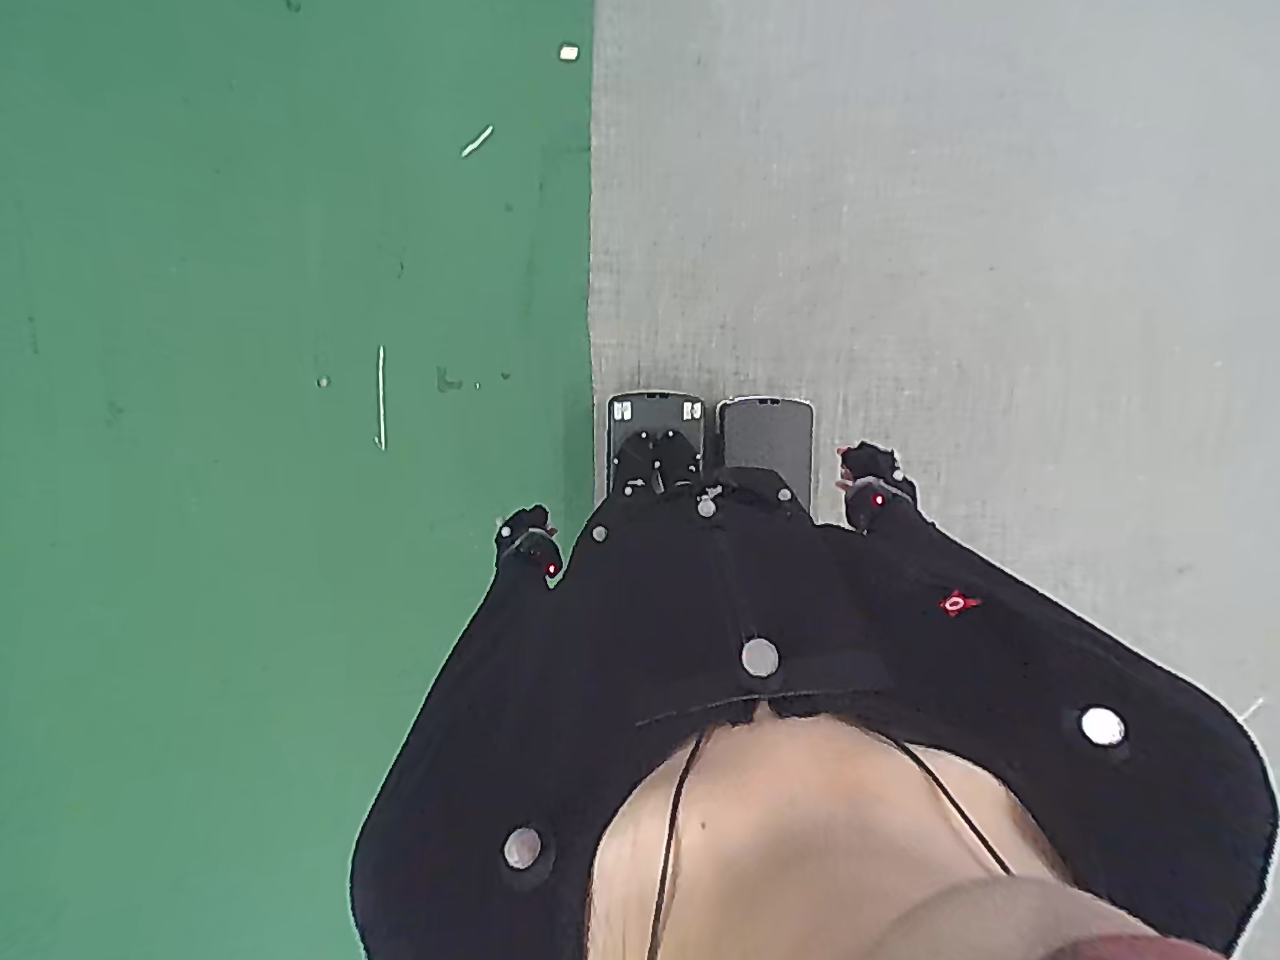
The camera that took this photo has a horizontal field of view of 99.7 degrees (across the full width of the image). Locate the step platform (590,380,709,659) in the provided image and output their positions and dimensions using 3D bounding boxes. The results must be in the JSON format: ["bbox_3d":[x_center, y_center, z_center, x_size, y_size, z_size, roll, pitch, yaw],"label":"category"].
[{"bbox_3d":[0.021,0.095,1.399,0.286,0.204,0.684,0,96,-2],"label":"step platform"}]
